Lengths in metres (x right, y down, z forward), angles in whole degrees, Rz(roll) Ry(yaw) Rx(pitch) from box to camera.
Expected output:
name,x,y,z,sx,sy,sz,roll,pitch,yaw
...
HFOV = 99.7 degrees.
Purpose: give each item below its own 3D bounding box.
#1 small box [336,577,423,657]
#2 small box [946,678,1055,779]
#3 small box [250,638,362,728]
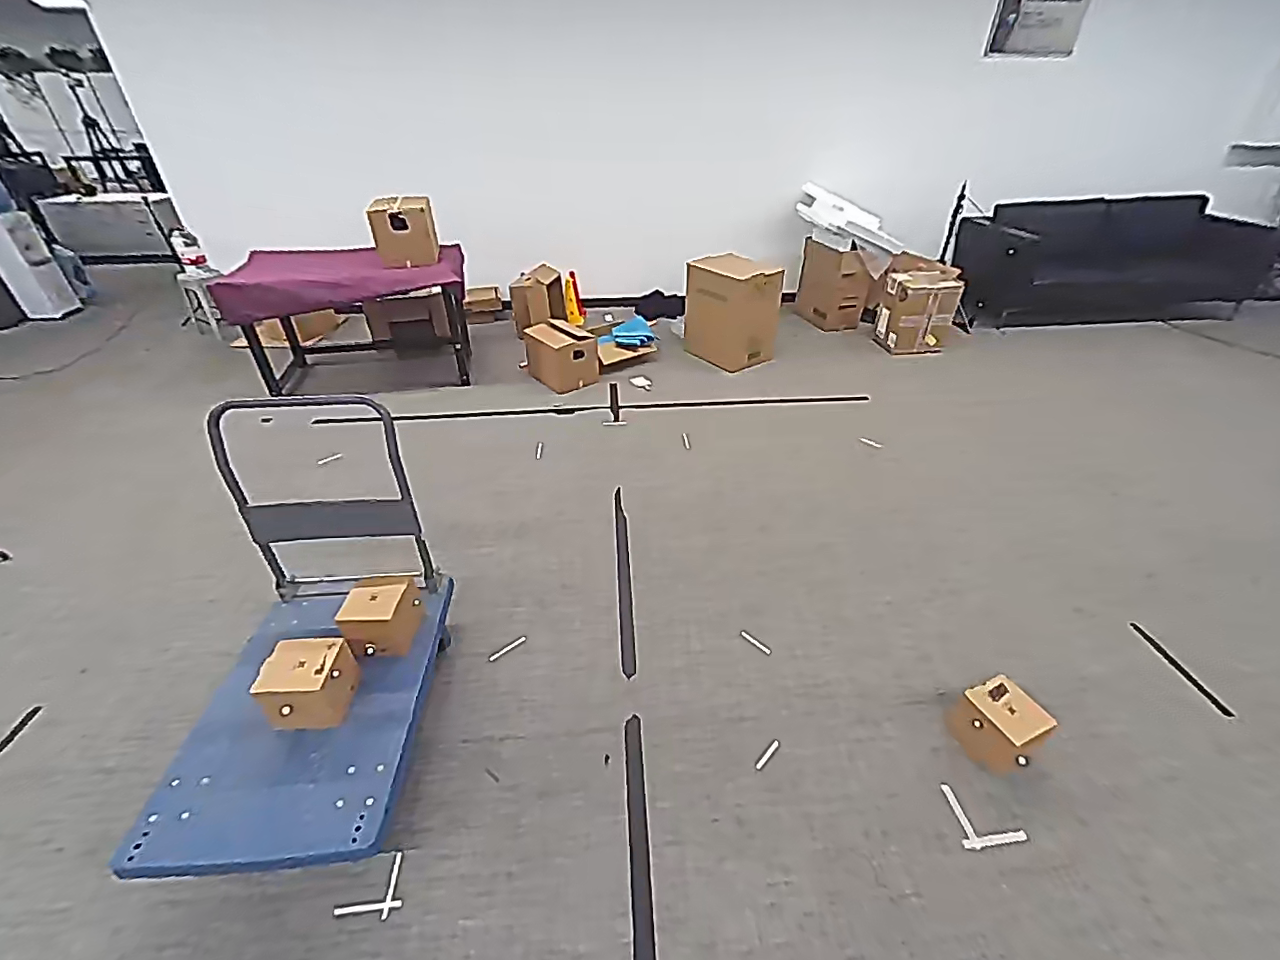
name,x,y,z,sx,sy,sz,roll,pitch,yaw
small box,-0.785,0.418,1.652,0.168,0.176,0.179,-1,36,1
small box,1.028,0.717,1.561,0.168,0.176,0.179,-14,38,-19
small box,-0.891,0.551,1.461,0.179,0.176,0.168,-2,36,-1
